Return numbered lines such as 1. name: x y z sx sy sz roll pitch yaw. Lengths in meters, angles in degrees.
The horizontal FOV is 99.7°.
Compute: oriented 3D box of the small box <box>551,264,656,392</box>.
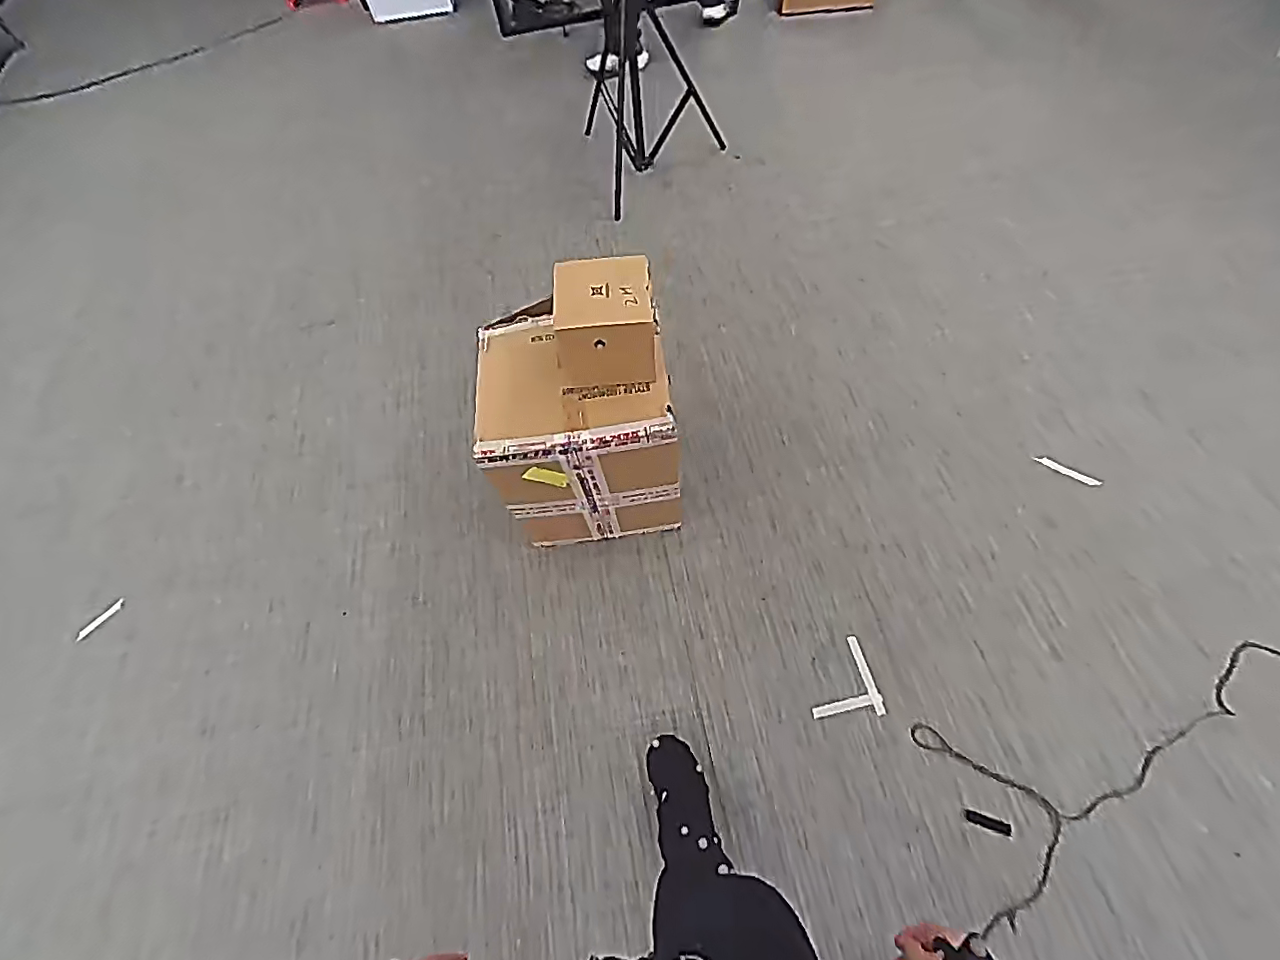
1. small box: -0.065 -0.282 1.030 0.179 0.176 0.168 -5 63 1
